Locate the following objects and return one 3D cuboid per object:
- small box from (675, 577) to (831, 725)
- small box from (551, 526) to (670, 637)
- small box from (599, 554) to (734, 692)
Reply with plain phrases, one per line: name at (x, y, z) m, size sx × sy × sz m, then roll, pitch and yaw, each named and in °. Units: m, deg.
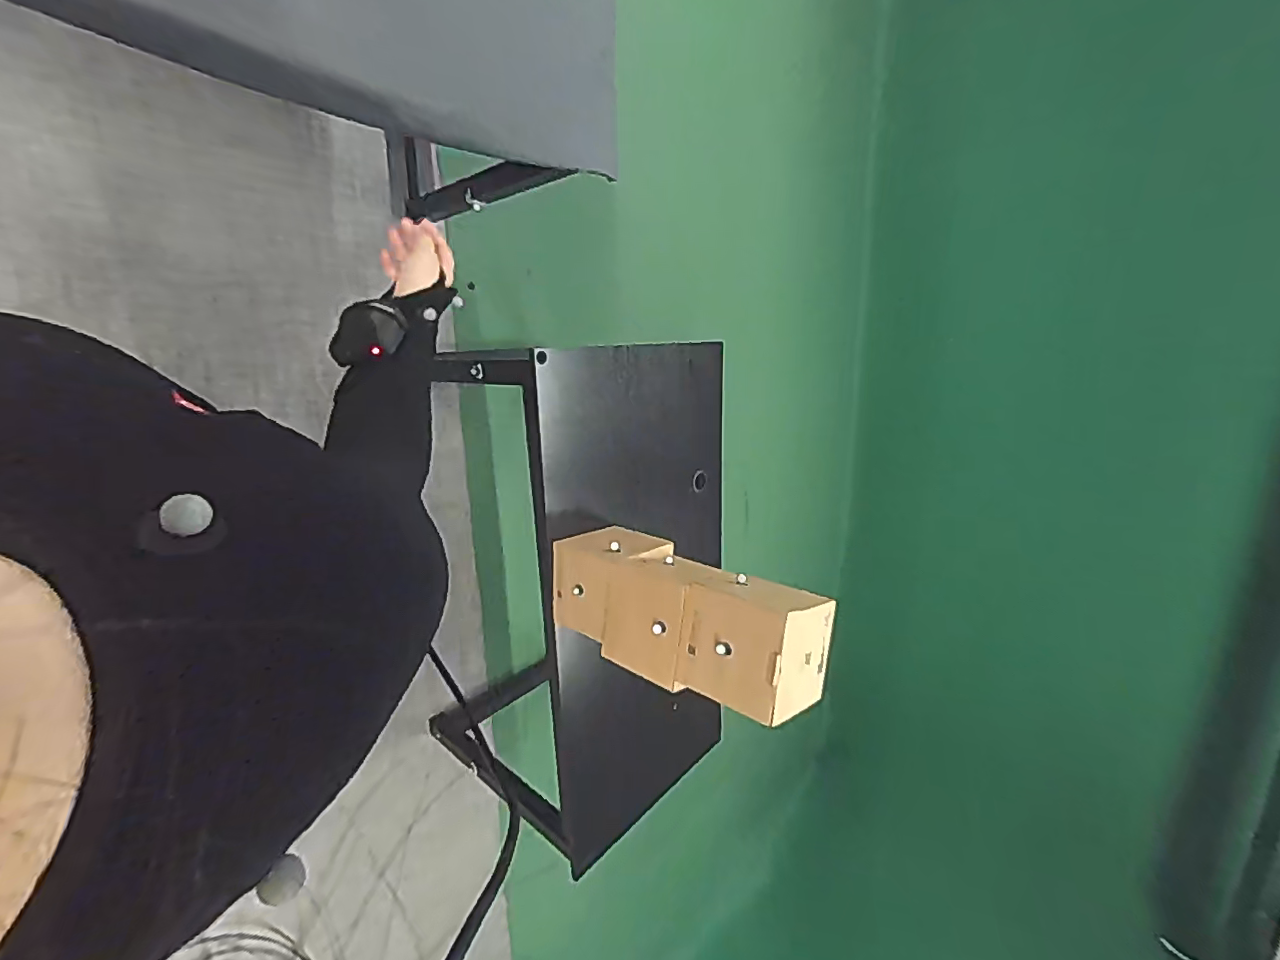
small box at (0.177, 0.256, 0.858) m, size 0.179 × 0.176 × 0.168 m, roll 6°, pitch 94°, yaw -48°
small box at (-0.061, 0.198, 1.073) m, size 0.179 × 0.176 × 0.168 m, roll -10°, pitch 107°, yaw -47°
small box at (0.045, 0.239, 0.955) m, size 0.168 × 0.176 × 0.179 m, roll 1°, pitch 97°, yaw -49°
